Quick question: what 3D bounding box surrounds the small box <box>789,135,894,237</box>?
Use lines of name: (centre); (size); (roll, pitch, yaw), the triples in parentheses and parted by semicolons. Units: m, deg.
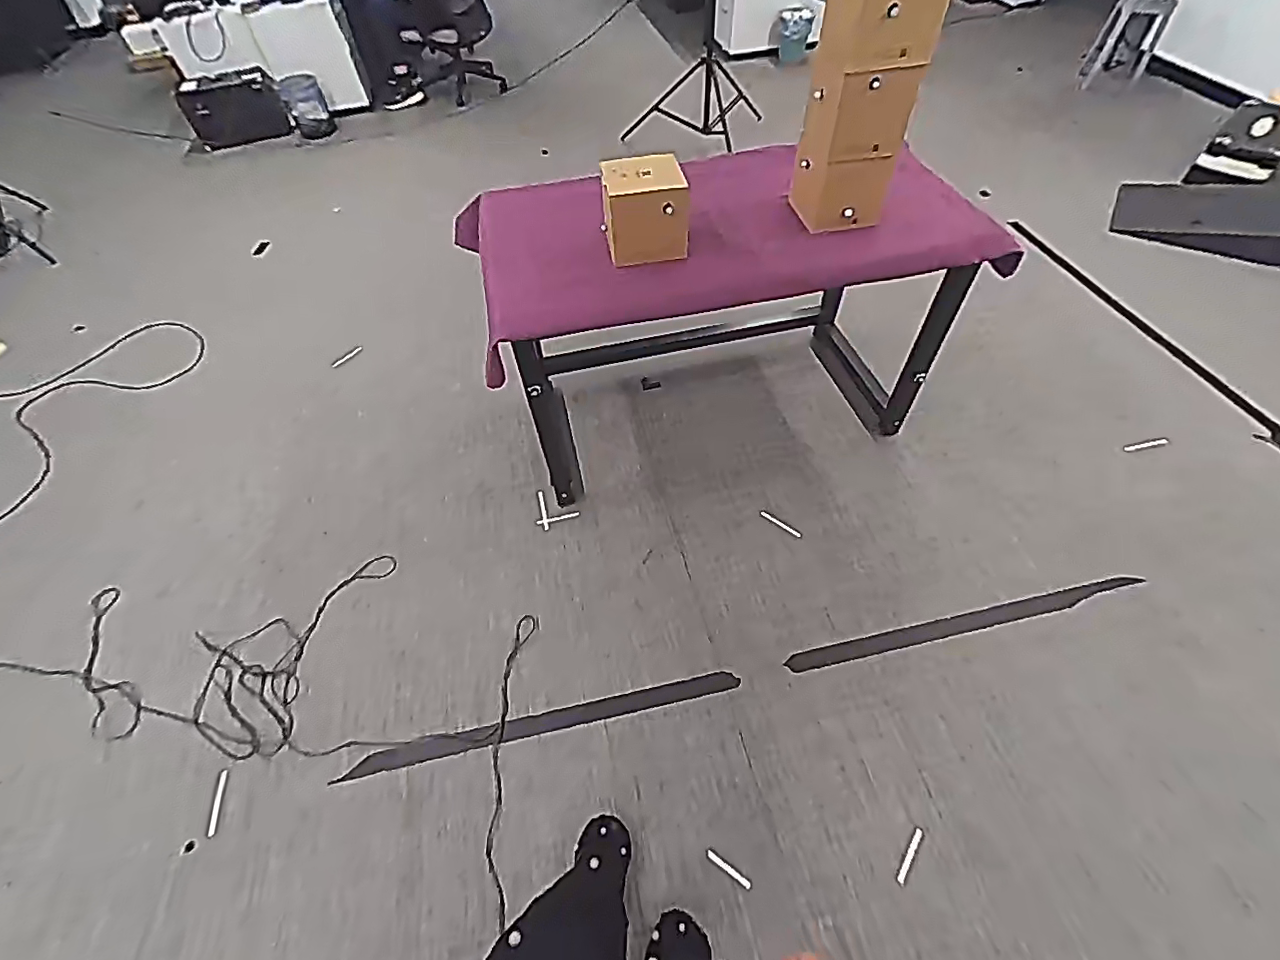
small box: (0.472, -0.715, 1.302); (0.168, 0.176, 0.179); (-10, 54, -3)

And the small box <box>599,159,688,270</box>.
small box: (0.008, -0.613, 1.256); (0.179, 0.176, 0.168); (-10, 53, -3)

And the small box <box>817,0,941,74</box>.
small box: (0.457, -0.900, 1.032); (0.168, 0.176, 0.179); (-9, 53, -2)

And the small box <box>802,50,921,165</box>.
small box: (0.464, -0.808, 1.167); (0.168, 0.176, 0.179); (-9, 53, -2)
